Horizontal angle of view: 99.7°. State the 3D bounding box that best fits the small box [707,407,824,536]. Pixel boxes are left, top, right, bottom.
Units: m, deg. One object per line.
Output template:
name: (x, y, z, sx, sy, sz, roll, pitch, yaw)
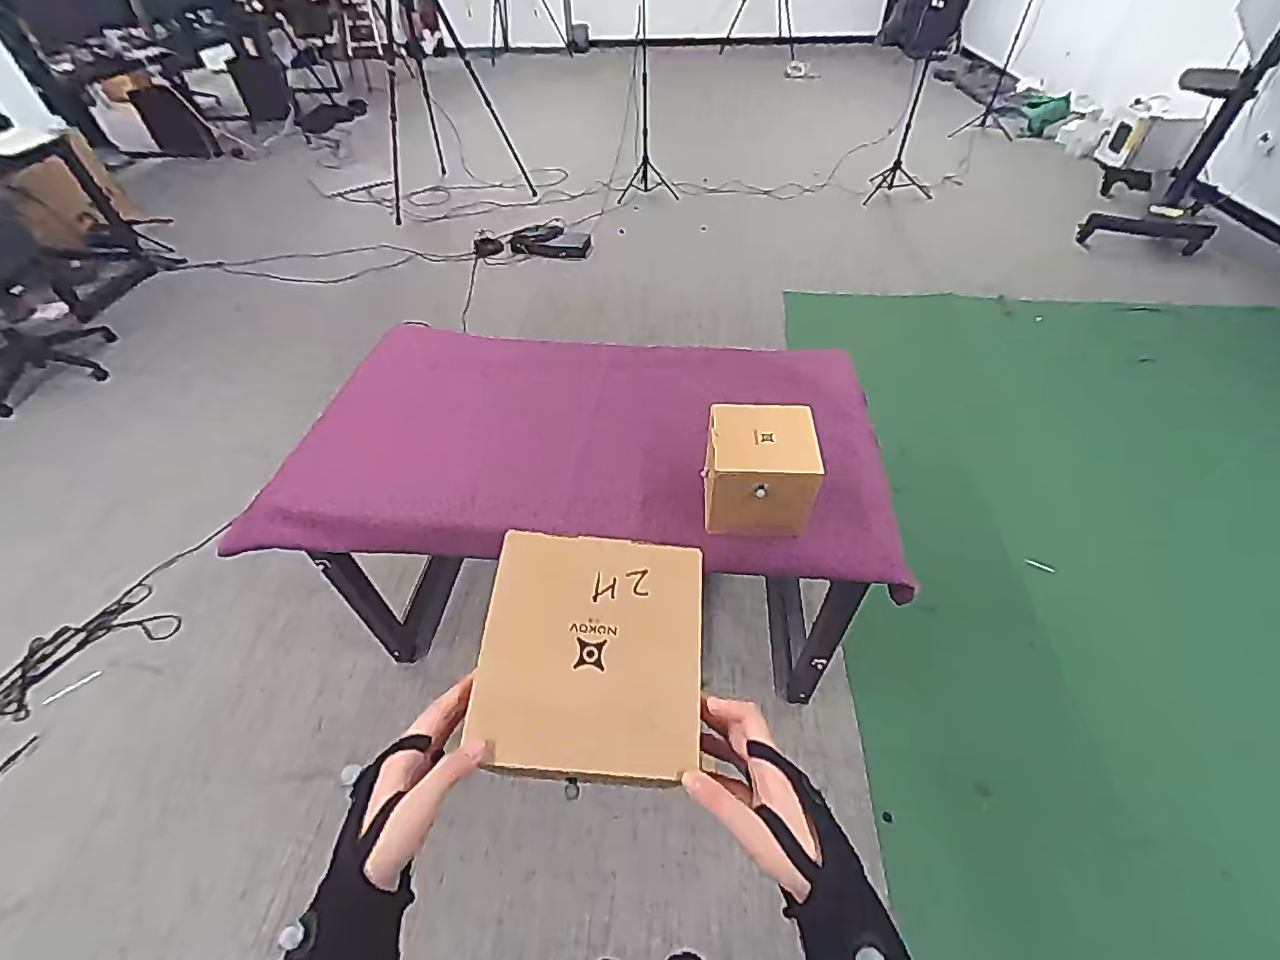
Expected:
small box: (0.213, -0.012, 0.968, 0.179, 0.176, 0.168, 1, 48, 4)
